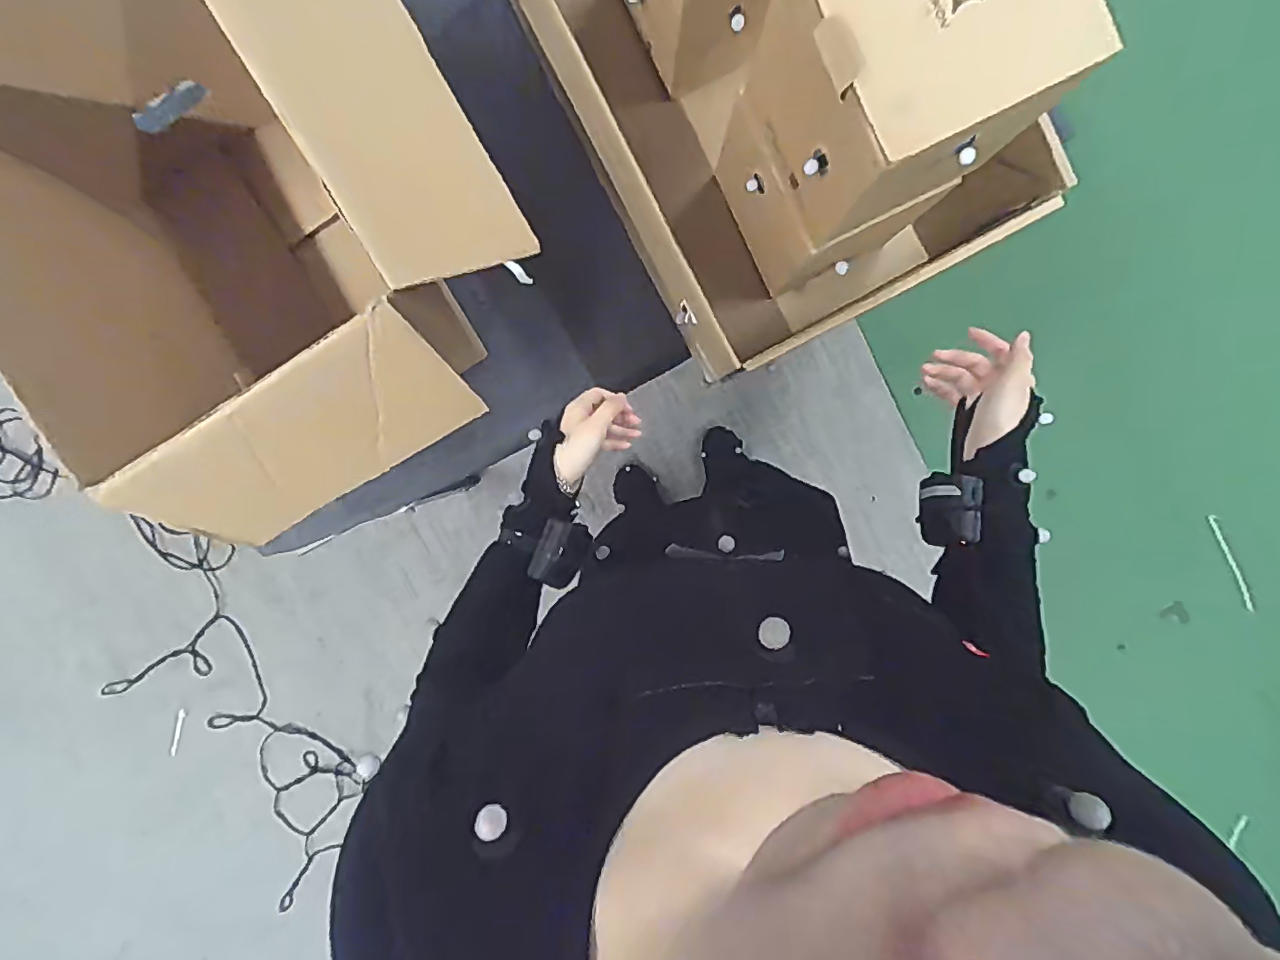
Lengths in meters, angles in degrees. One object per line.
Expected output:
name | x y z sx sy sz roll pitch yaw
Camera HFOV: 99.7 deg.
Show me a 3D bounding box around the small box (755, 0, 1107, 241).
small box | 0.210 -0.331 0.448 0.179 0.176 0.168 -26 95 2
